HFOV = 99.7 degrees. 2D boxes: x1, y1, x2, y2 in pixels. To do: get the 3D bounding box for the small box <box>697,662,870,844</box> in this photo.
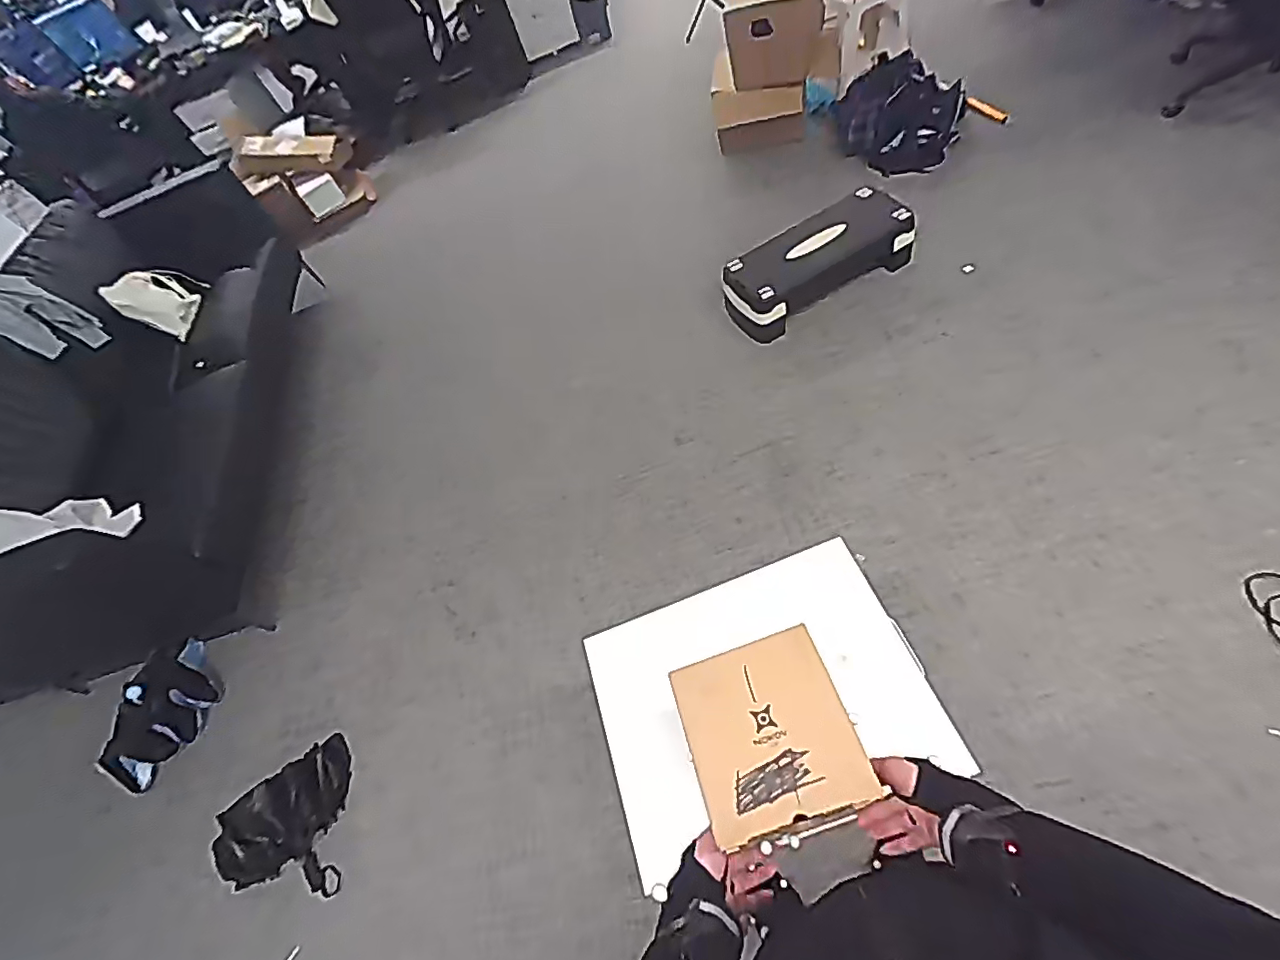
[{"bbox_3d":[0.194,0.383,0.752,0.168,0.176,0.179,-23,54,4],"label":"small box"}]
